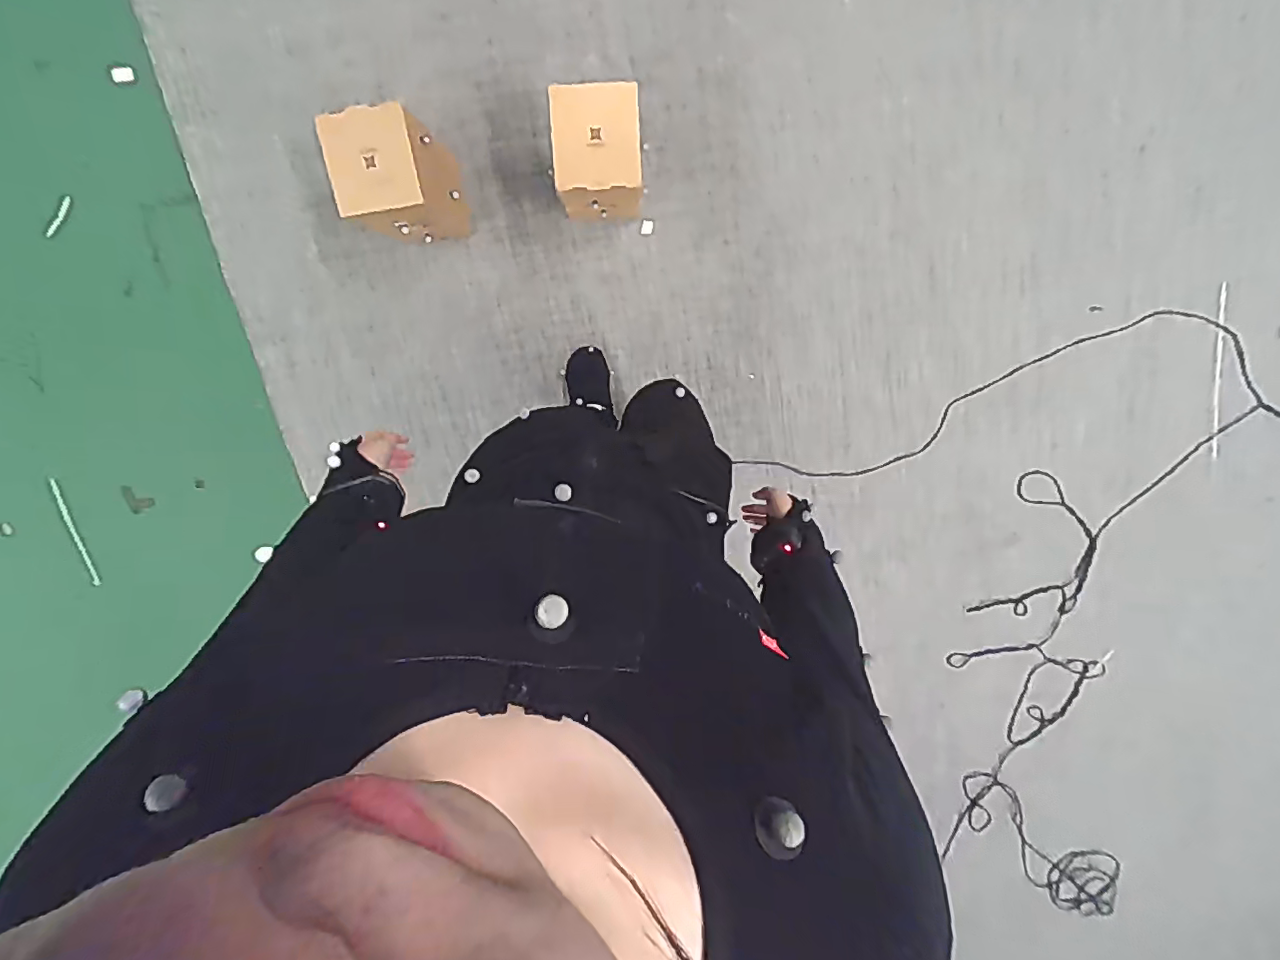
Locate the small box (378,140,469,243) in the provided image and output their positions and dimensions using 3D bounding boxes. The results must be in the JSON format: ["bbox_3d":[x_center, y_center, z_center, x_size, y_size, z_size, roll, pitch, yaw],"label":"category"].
[{"bbox_3d":[-0.508,-0.656,1.250,0.168,0.176,0.179,-6,106,0],"label":"small box"}]

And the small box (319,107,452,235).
[{"bbox_3d":[-0.501,-0.613,1.094,0.168,0.176,0.179,-9,106,2],"label":"small box"}]

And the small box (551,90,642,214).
[{"bbox_3d":[-0.084,-0.654,1.094,0.168,0.176,0.179,-3,106,0],"label":"small box"}]
